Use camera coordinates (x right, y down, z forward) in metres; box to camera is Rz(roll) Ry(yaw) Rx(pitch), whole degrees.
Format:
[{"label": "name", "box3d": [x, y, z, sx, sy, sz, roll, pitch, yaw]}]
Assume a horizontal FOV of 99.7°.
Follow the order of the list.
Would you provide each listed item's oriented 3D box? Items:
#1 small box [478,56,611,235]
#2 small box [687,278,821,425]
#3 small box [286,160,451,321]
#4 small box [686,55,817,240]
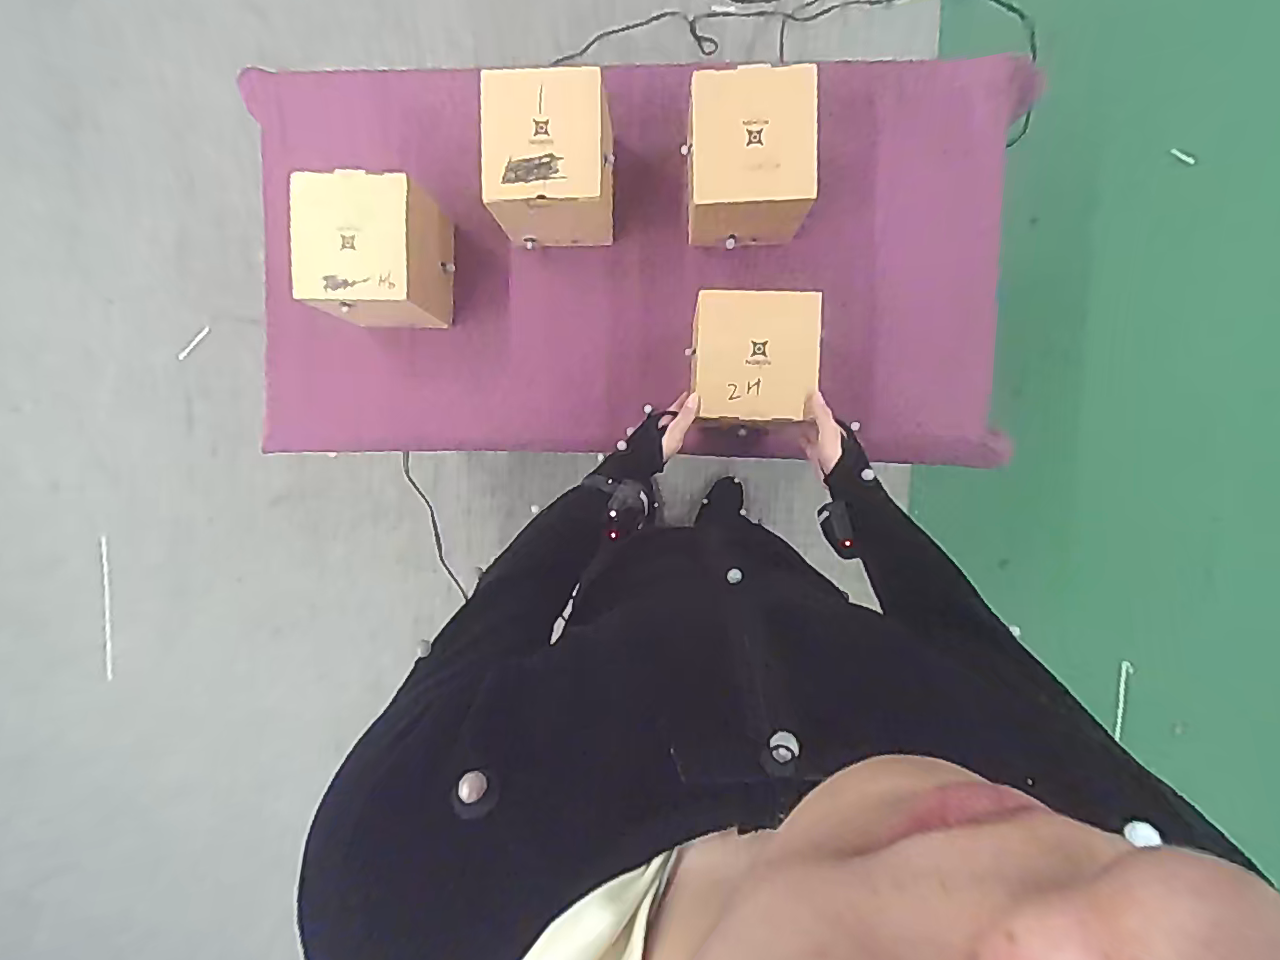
[{"label": "small box", "box3d": [-0.132, -0.479, 0.802, 0.168, 0.176, 0.179, 0, 93, 2]}, {"label": "small box", "box3d": [0.159, -0.180, 0.802, 0.168, 0.176, 0.179, 3, 91, 3]}, {"label": "small box", "box3d": [-0.399, -0.352, 0.818, 0.168, 0.176, 0.179, 2, 93, 4]}, {"label": "small box", "box3d": [0.153, -0.472, 0.791, 0.168, 0.176, 0.179, 0, 94, 3]}]
